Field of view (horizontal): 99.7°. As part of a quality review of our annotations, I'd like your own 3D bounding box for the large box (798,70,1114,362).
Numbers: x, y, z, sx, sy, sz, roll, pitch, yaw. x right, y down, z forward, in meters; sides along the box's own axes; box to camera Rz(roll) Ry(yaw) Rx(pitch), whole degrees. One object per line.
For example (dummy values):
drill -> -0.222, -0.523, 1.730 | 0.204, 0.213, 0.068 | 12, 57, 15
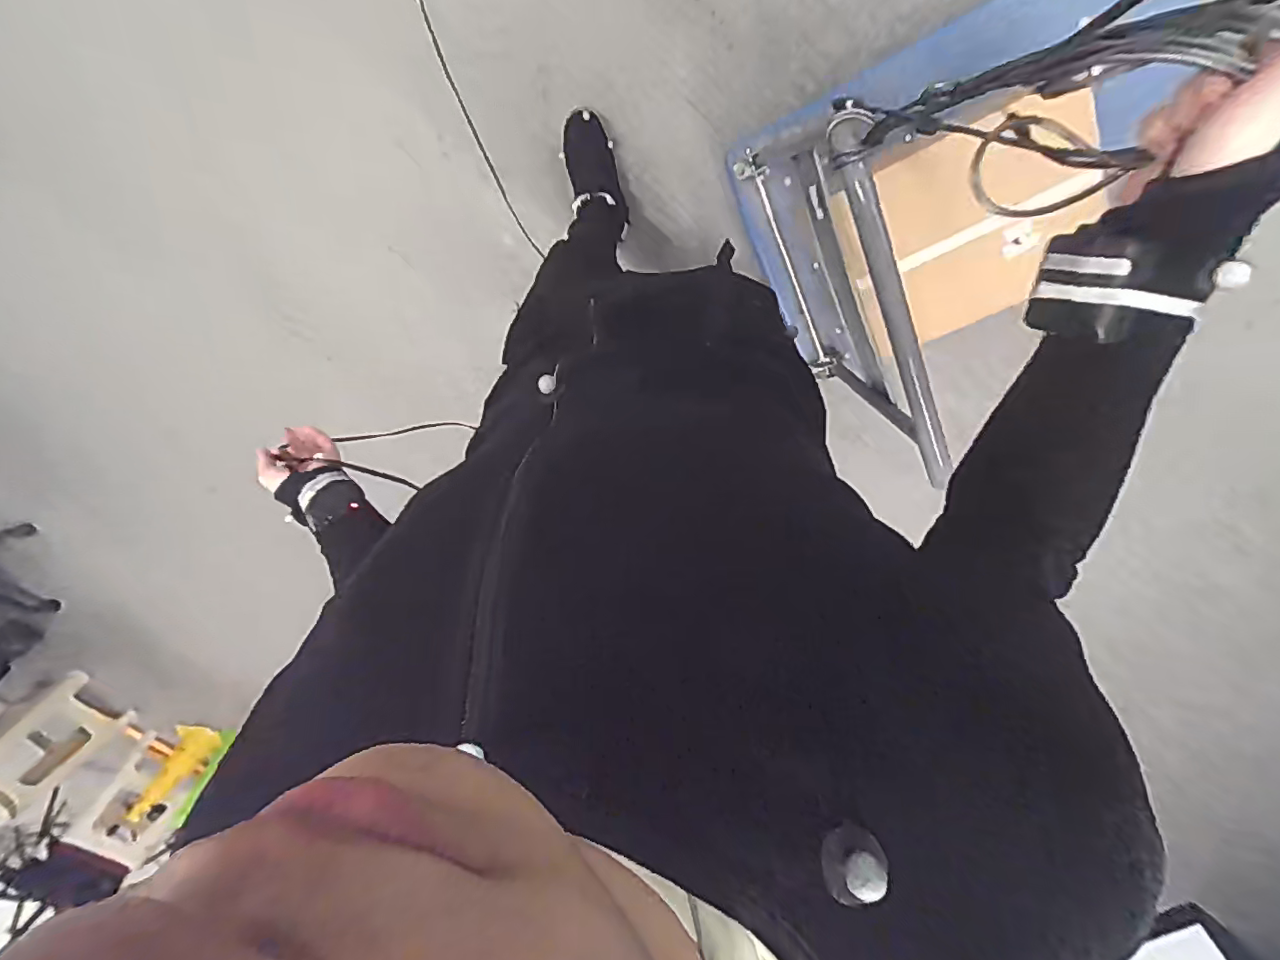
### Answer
large box -> 0.573, -0.482, 1.044 | 0.408, 0.320, 0.320 | -22, 114, 14
